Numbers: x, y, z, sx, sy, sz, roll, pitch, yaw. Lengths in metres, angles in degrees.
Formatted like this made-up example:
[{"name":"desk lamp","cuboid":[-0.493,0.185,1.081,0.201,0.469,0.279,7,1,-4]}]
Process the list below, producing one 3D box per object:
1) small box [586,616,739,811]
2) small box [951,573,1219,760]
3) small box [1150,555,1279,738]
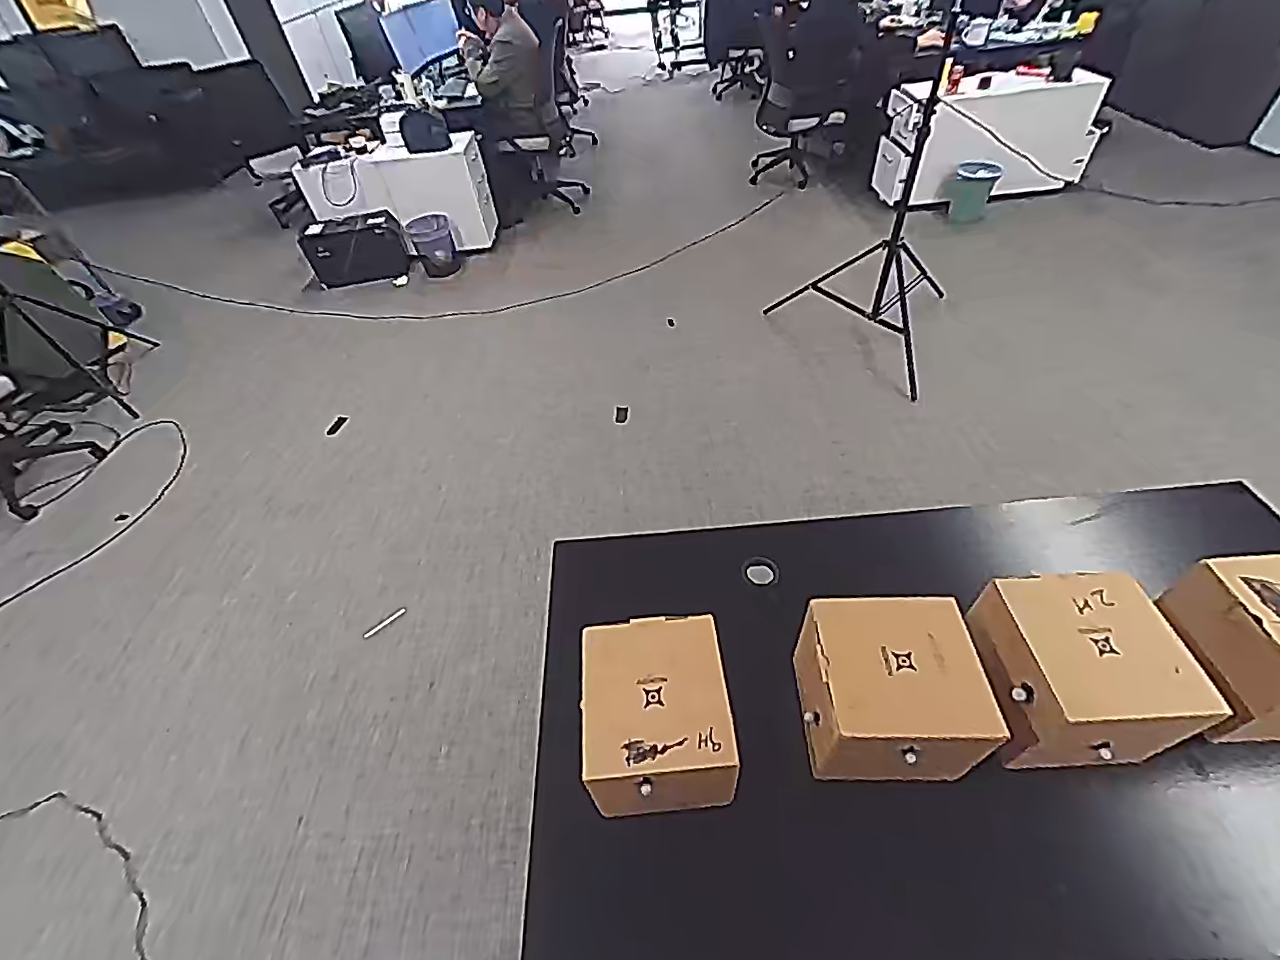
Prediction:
[{"name":"small box","cuboid":[0.026,0.296,0.686,0.168,0.176,0.179,-6,47,2]},{"name":"small box","cuboid":[0.528,0.239,0.679,0.168,0.176,0.179,-4,47,3]},{"name":"small box","cuboid":[0.788,0.209,0.675,0.179,0.176,0.168,-3,47,3]}]
